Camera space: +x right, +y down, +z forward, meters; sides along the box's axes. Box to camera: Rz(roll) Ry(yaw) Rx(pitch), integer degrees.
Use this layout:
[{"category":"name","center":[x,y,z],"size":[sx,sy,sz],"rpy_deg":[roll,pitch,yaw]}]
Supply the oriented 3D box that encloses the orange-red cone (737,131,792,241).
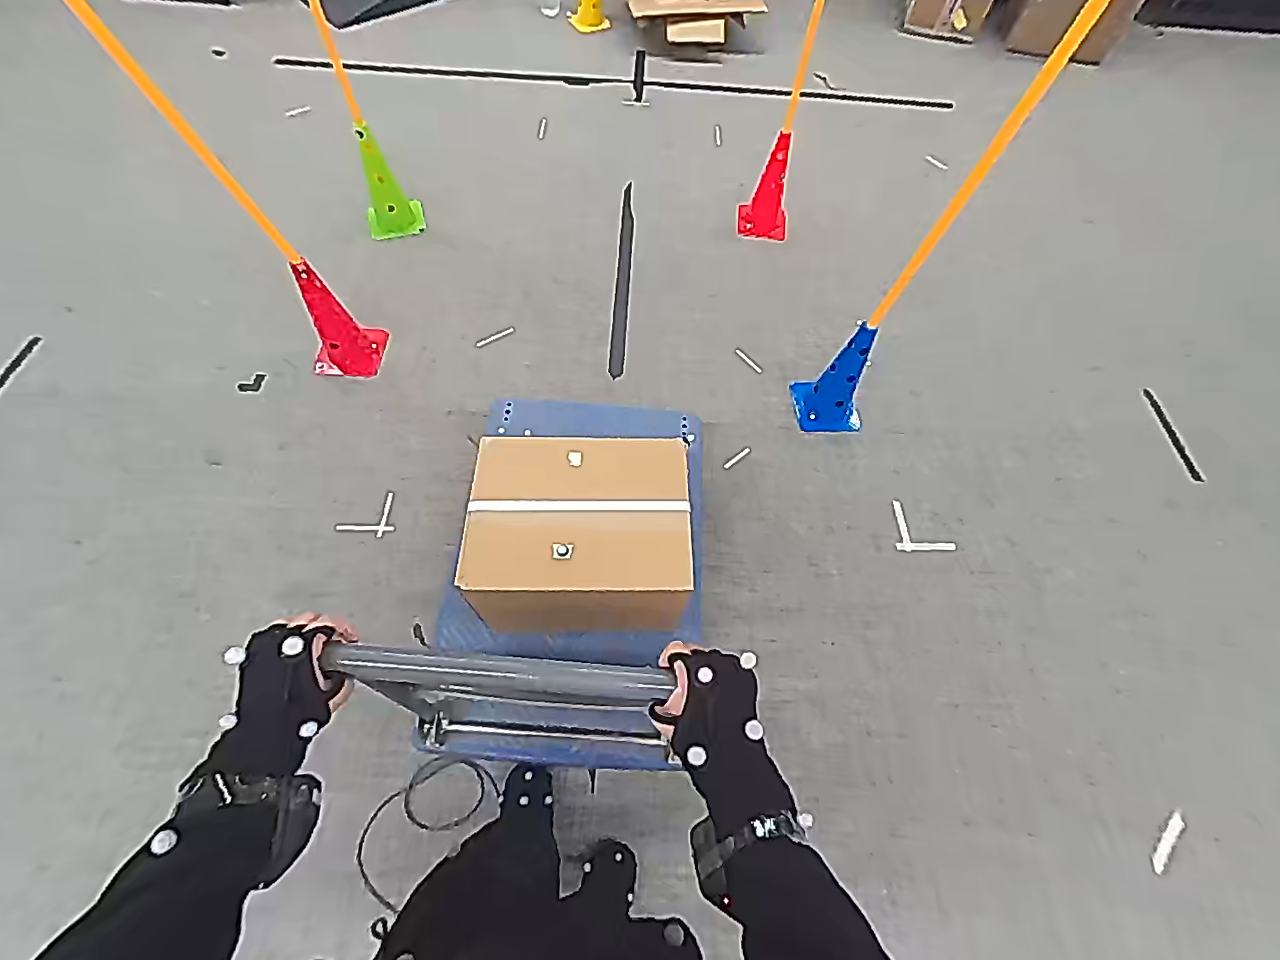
[{"category":"orange-red cone","center":[0.505,-1.124,2.042],"size":[0.199,0.360,0.198],"rpy_deg":[9,61,1]}]

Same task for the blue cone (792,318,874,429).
[{"category":"blue cone","center":[0.610,-0.325,1.618],"size":[0.193,0.380,0.192],"rpy_deg":[-1,60,-4]}]
